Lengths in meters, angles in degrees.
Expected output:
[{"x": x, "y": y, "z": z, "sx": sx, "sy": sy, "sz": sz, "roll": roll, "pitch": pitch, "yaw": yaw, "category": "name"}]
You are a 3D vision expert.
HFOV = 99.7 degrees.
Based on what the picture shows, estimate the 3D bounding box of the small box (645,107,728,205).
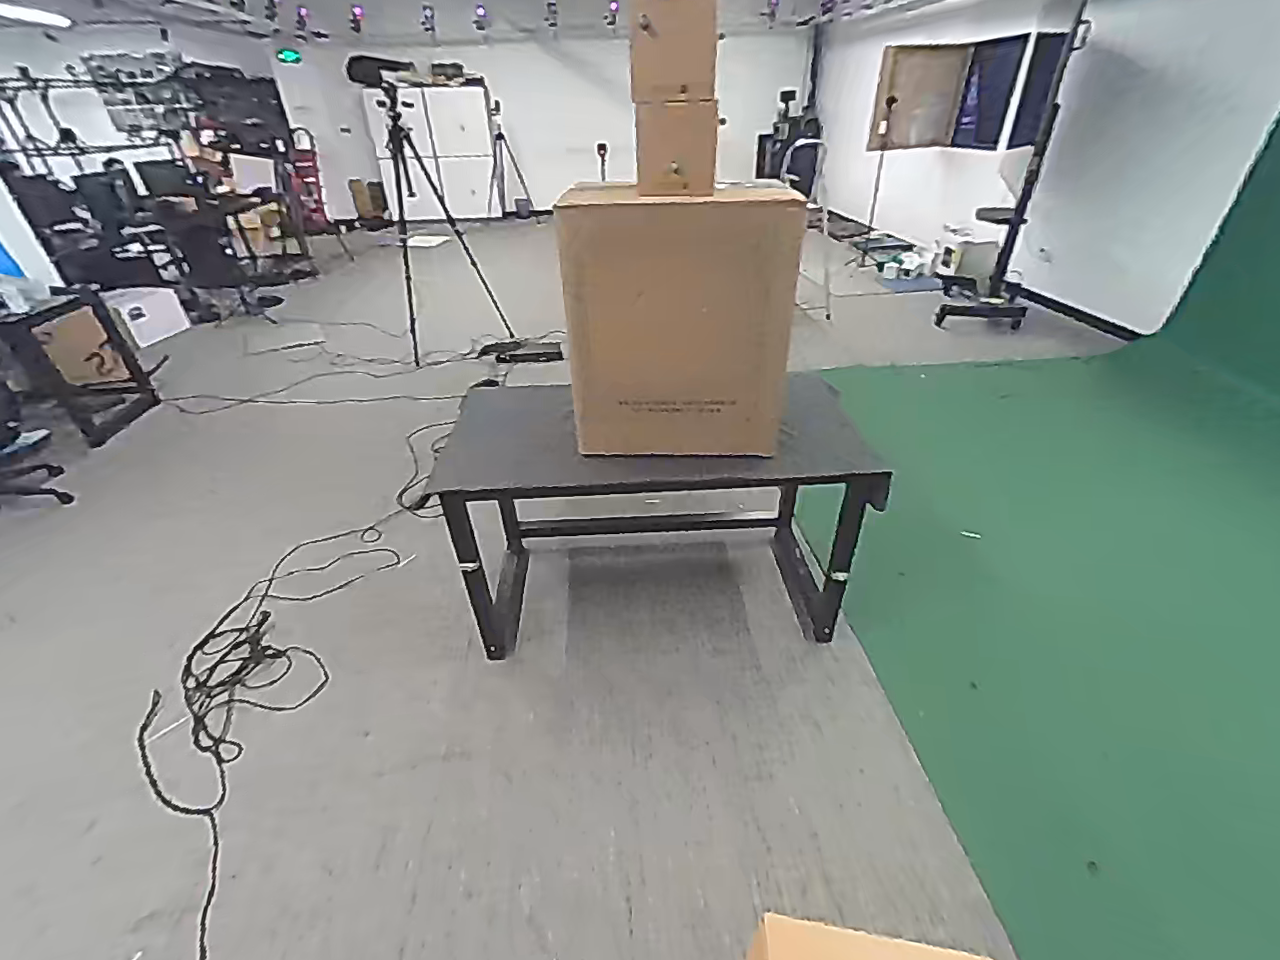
[{"x": 0.101, "y": -0.715, "z": 1.188, "sx": 0.168, "sy": 0.176, "sz": 0.179, "roll": 4, "pitch": 37, "yaw": 7, "category": "small box"}]

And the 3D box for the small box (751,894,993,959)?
[{"x": 0.151, "y": 0.426, "z": 0.350, "sx": 0.168, "sy": 0.176, "sz": 0.179, "roll": 10, "pitch": 23, "yaw": 2, "category": "small box"}]
